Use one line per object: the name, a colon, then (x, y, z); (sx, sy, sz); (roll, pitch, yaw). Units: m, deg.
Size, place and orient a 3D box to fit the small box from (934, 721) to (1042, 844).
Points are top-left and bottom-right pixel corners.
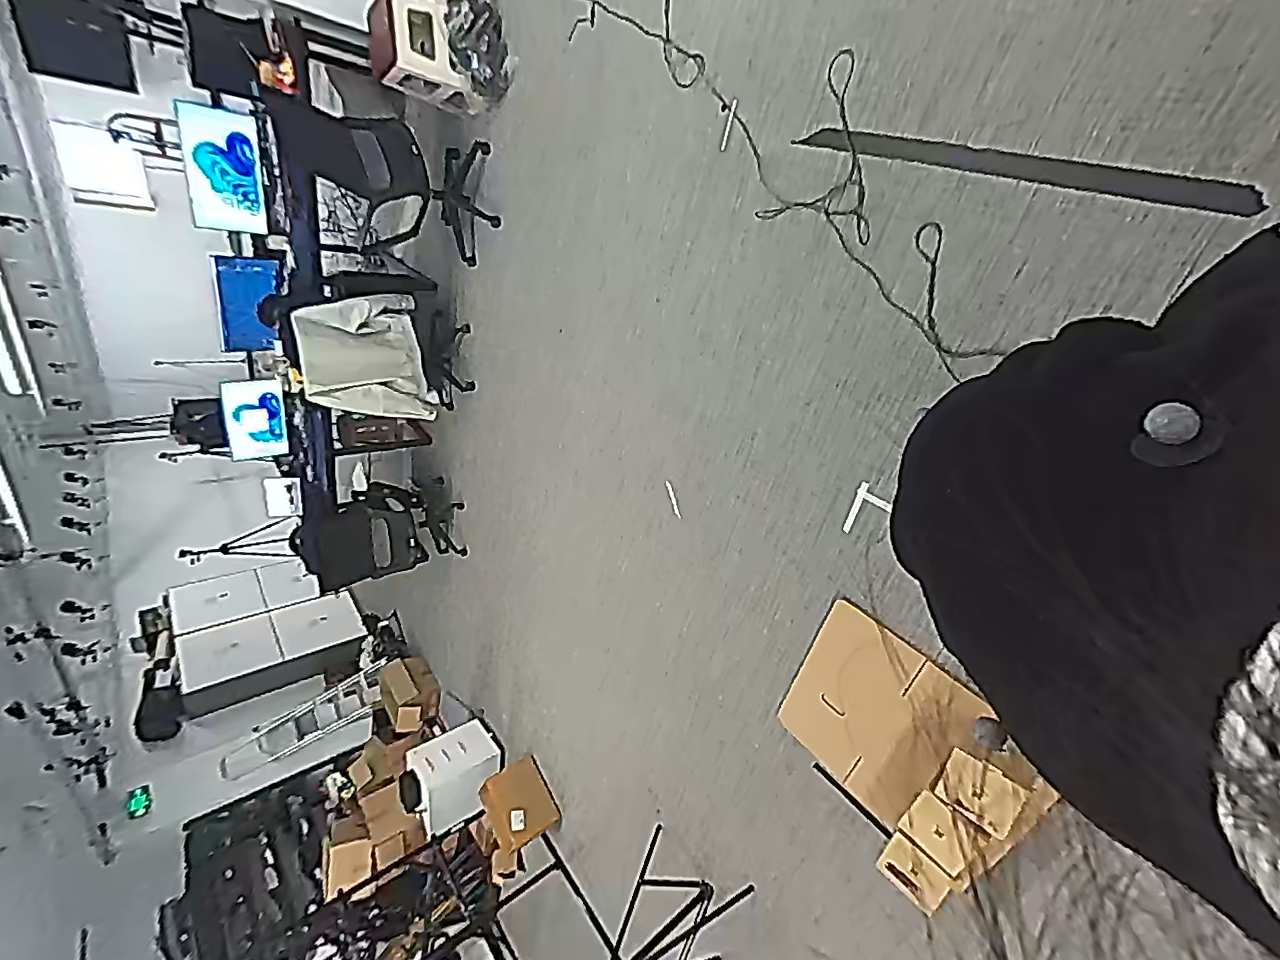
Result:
small box: (0.885, 0.755, 1.371); (0.168, 0.176, 0.179); (28, 120, 42)
